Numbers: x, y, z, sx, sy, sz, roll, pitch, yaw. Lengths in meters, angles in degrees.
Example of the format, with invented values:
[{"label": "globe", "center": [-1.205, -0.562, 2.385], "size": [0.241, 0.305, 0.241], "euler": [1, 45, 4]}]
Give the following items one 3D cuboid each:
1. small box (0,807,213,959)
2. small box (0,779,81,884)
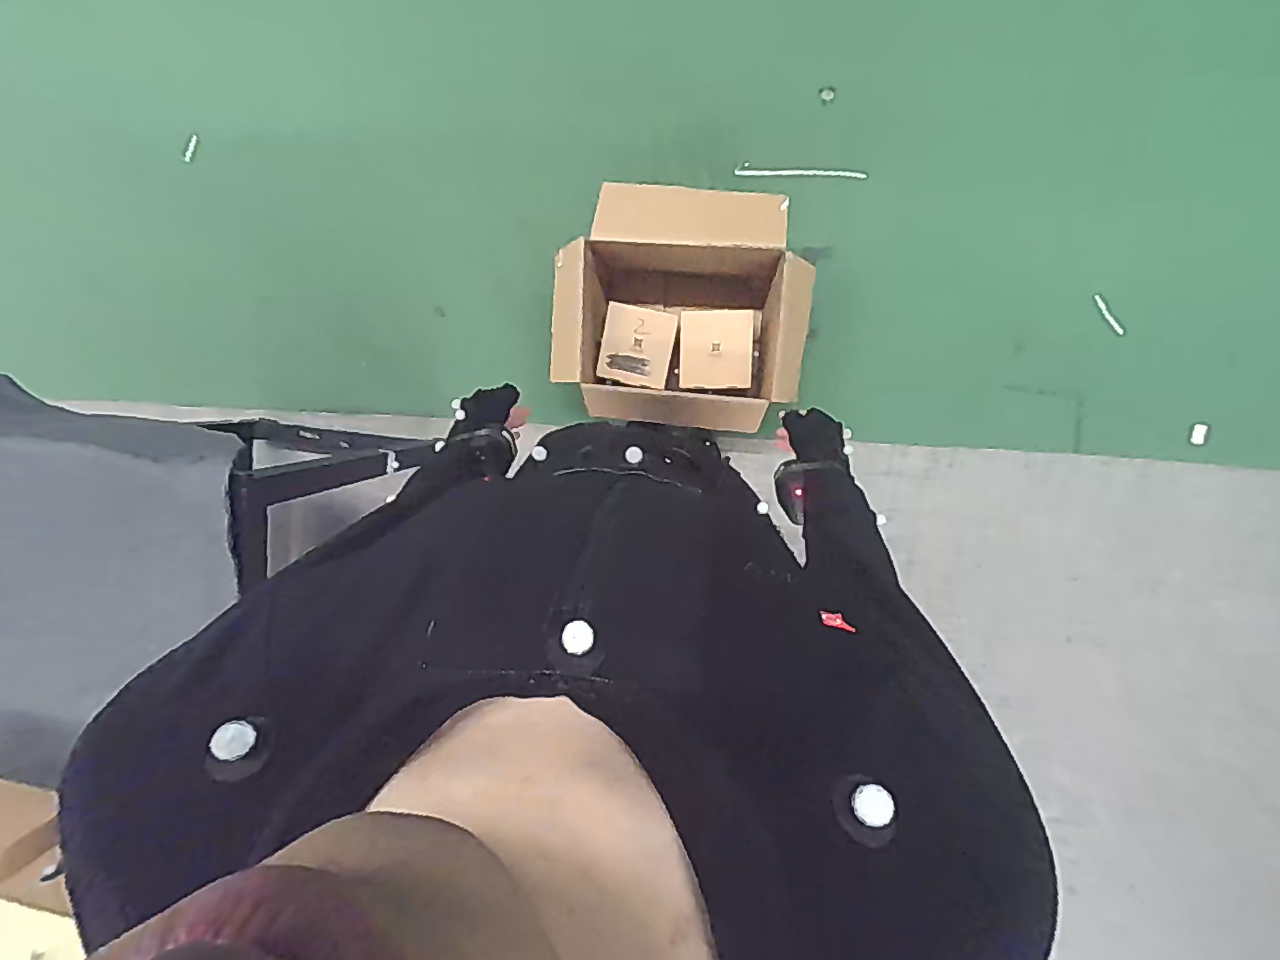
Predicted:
[{"label": "small box", "center": [-0.808, 0.642, 0.828], "size": [0.179, 0.176, 0.168], "euler": [9, 100, 4]}, {"label": "small box", "center": [-1.033, 0.603, 0.843], "size": [0.179, 0.176, 0.168], "euler": [10, 100, 3]}]
